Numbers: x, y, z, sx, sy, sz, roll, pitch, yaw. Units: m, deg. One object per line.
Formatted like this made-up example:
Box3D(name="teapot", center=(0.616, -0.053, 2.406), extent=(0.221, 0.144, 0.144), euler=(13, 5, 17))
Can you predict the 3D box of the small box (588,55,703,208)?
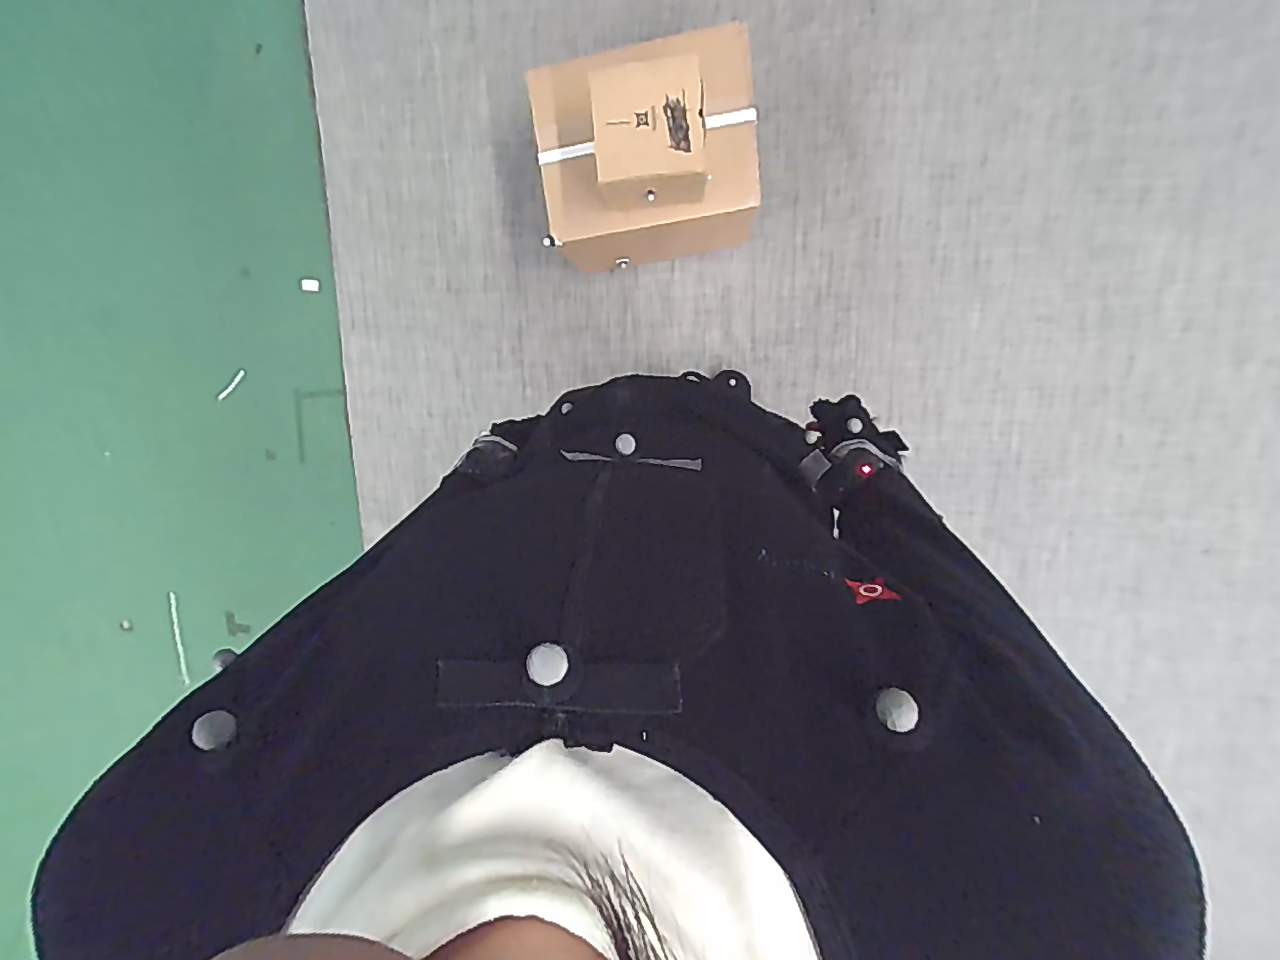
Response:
Box3D(name="small box", center=(0.017, -0.584, 0.929), extent=(0.179, 0.176, 0.168), euler=(-2, 101, 8))
